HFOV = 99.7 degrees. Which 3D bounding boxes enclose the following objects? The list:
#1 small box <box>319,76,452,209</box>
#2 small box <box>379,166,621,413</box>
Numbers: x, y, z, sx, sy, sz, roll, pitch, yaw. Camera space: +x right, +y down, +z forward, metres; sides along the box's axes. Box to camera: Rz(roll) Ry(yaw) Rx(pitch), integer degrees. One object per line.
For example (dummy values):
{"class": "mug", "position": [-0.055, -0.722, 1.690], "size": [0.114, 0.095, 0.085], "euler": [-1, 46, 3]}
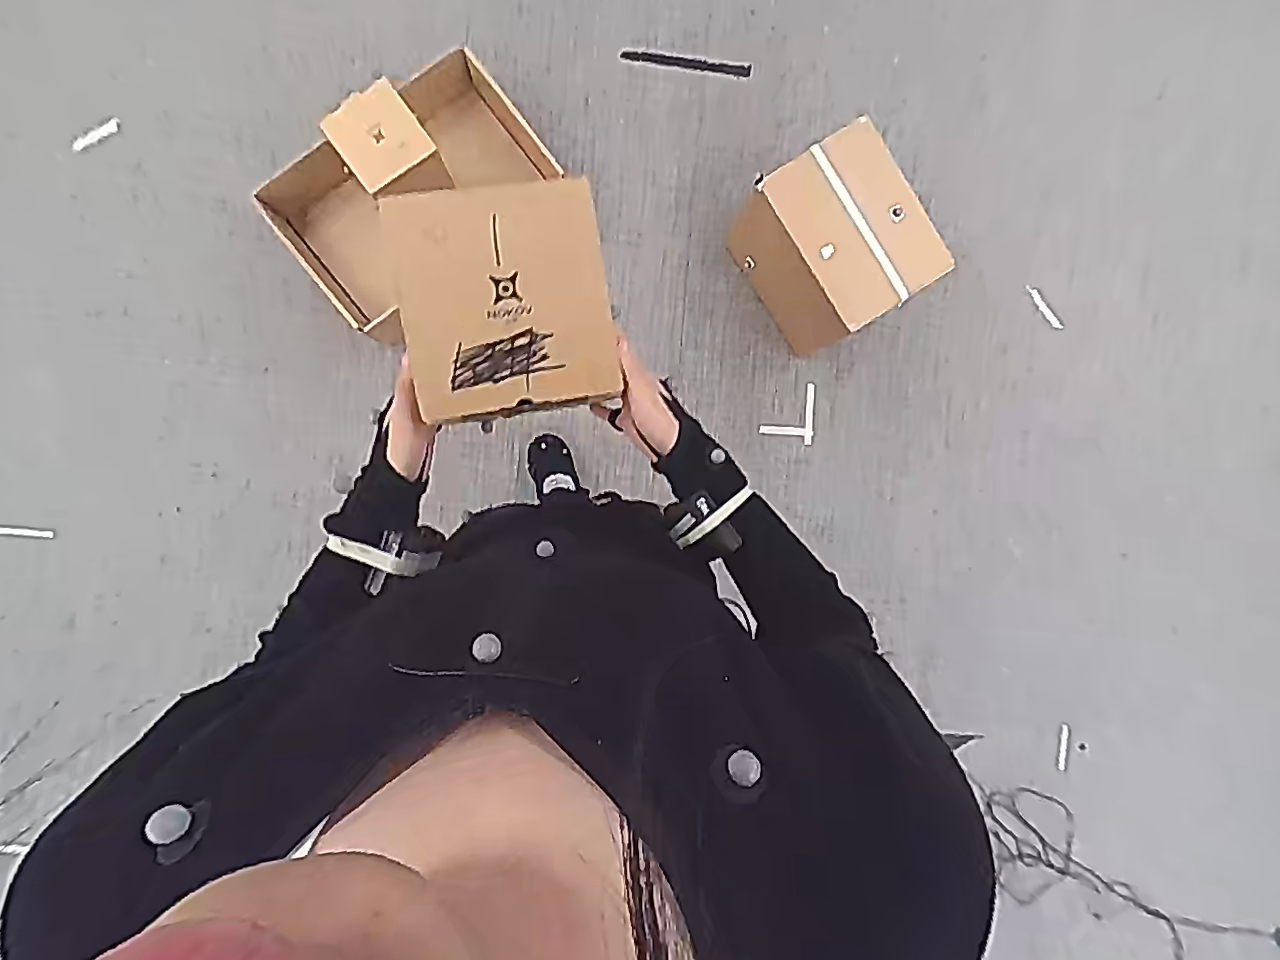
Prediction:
{"class": "small box", "position": [-0.524, -0.684, 1.147], "size": [0.168, 0.176, 0.179], "euler": [-37, 95, -3]}
{"class": "small box", "position": [-0.117, -0.160, 0.506], "size": [0.168, 0.176, 0.179], "euler": [-10, 97, -8]}
